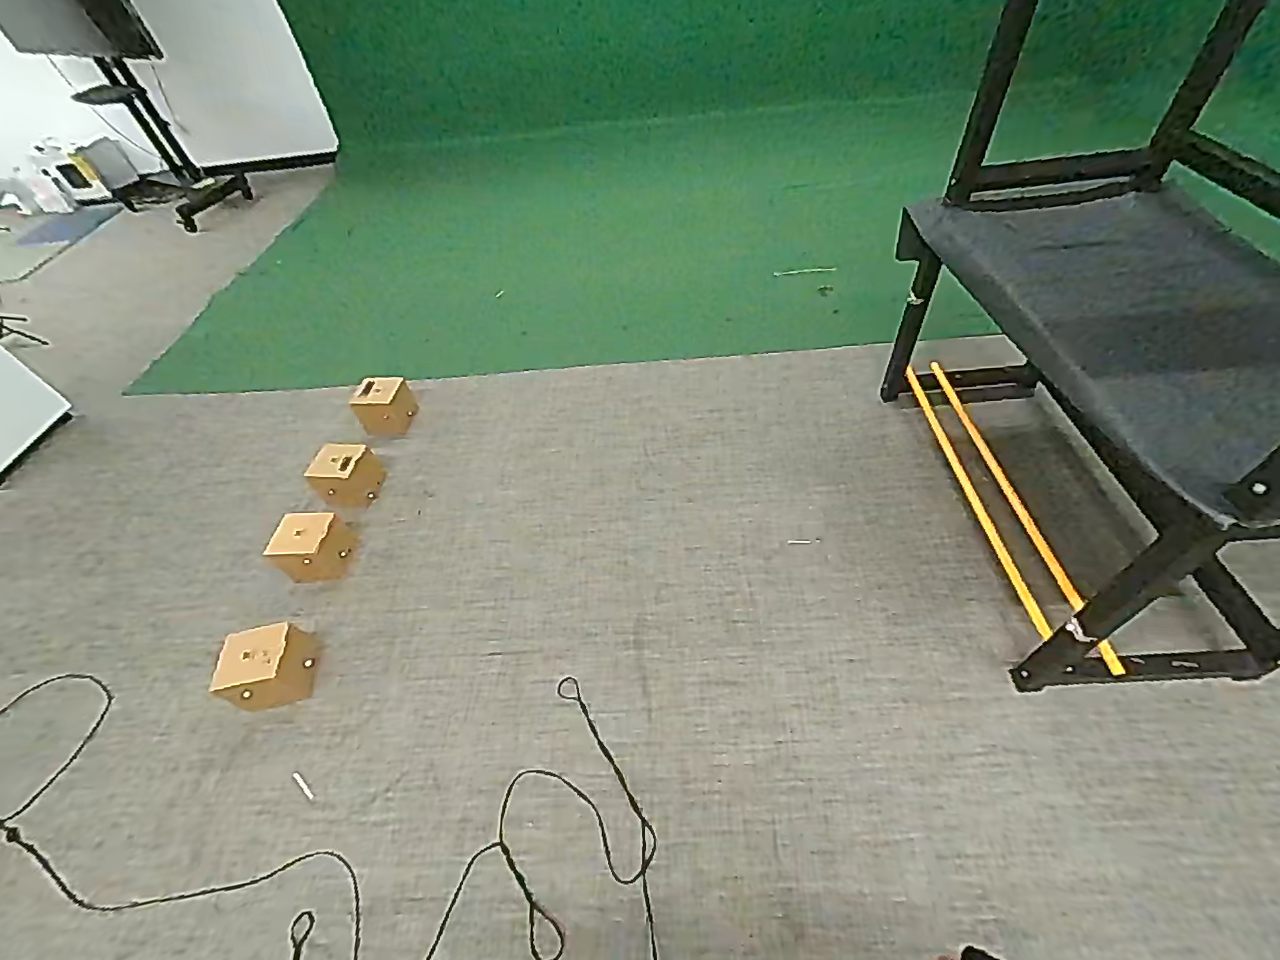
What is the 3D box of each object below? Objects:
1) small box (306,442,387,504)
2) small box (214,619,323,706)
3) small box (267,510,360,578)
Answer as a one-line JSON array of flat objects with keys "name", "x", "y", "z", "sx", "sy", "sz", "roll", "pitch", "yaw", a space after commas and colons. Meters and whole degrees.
[{"name": "small box", "x": -1.077, "y": -0.023, "z": 2.004, "sx": 0.179, "sy": 0.176, "sz": 0.168, "roll": 1, "pitch": 49, "yaw": 9}, {"name": "small box", "x": -1.042, "y": 0.521, "z": 1.533, "sx": 0.179, "sy": 0.176, "sz": 0.168, "roll": -12, "pitch": 50, "yaw": -3}, {"name": "small box", "x": -1.076, "y": 0.216, "z": 1.799, "sx": 0.179, "sy": 0.176, "sz": 0.168, "roll": -3, "pitch": 50, "yaw": 4}]
